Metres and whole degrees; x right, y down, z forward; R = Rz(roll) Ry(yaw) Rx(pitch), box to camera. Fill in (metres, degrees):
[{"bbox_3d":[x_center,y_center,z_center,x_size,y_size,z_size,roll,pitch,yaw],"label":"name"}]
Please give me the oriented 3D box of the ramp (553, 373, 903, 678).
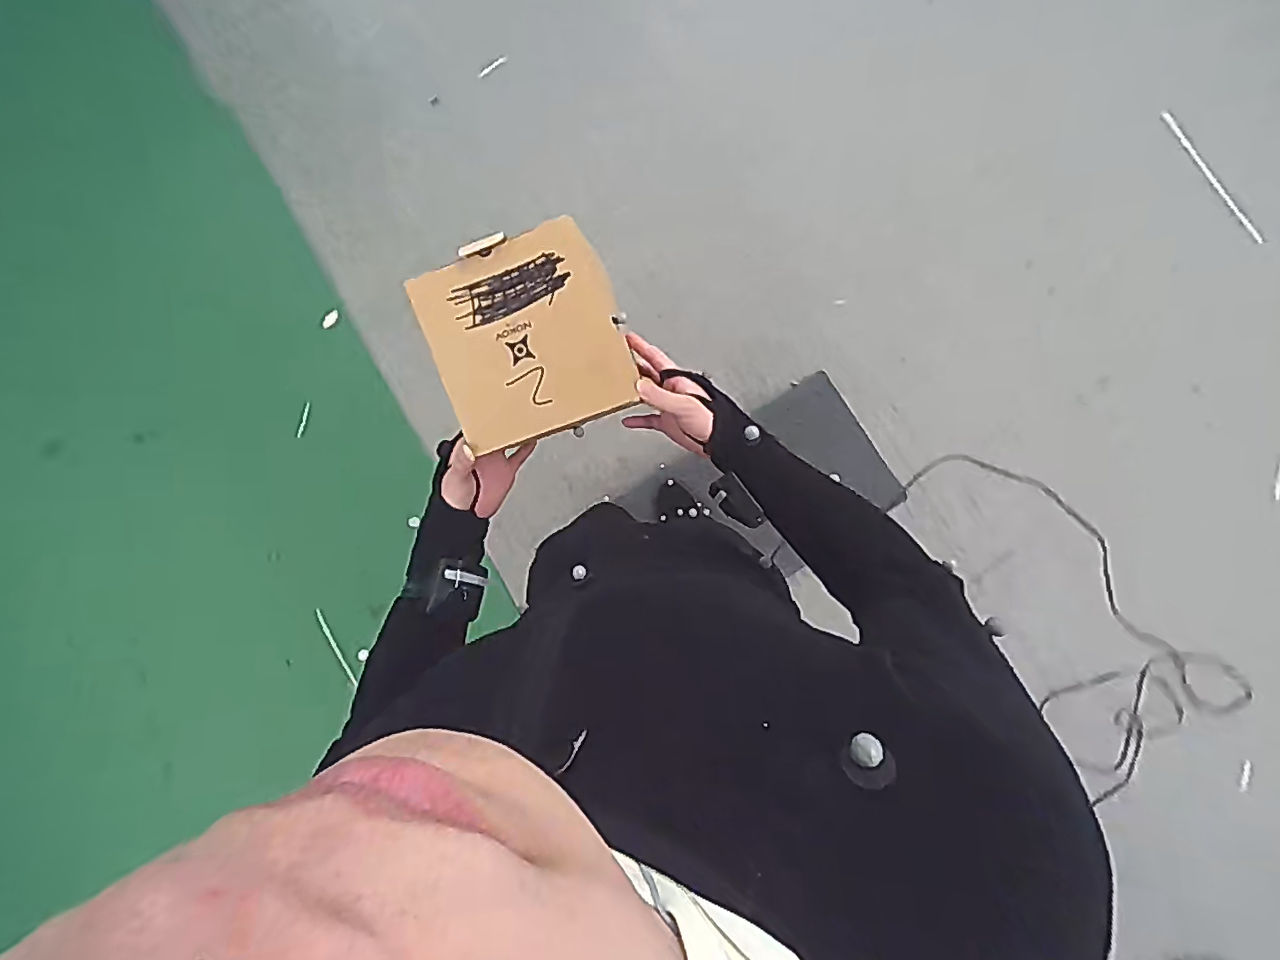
[{"bbox_3d":[0.278,0.118,1.659,0.991,0.206,0.509,-35,85,5],"label":"ramp"}]
